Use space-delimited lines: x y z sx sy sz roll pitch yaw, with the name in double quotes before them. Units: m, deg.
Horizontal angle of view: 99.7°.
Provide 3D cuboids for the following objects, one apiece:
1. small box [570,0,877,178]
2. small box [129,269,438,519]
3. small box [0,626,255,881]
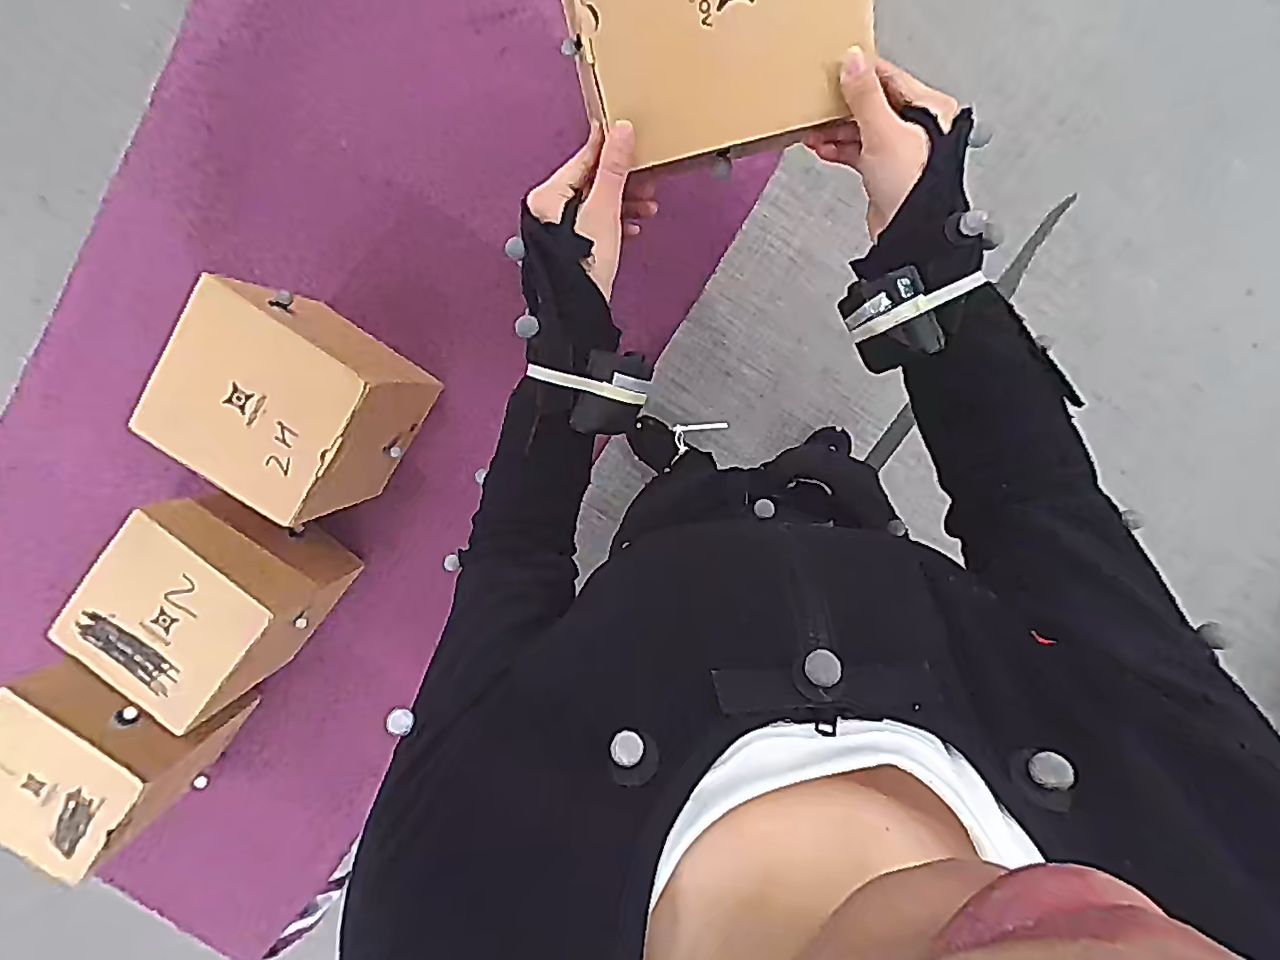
"small box" 0.045 -0.330 0.386 0.179 0.176 0.168 -13 115 2
"small box" -0.353 -0.086 0.570 0.179 0.176 0.168 34 99 -3
"small box" -0.618 0.306 0.642 0.179 0.176 0.168 38 98 -4
